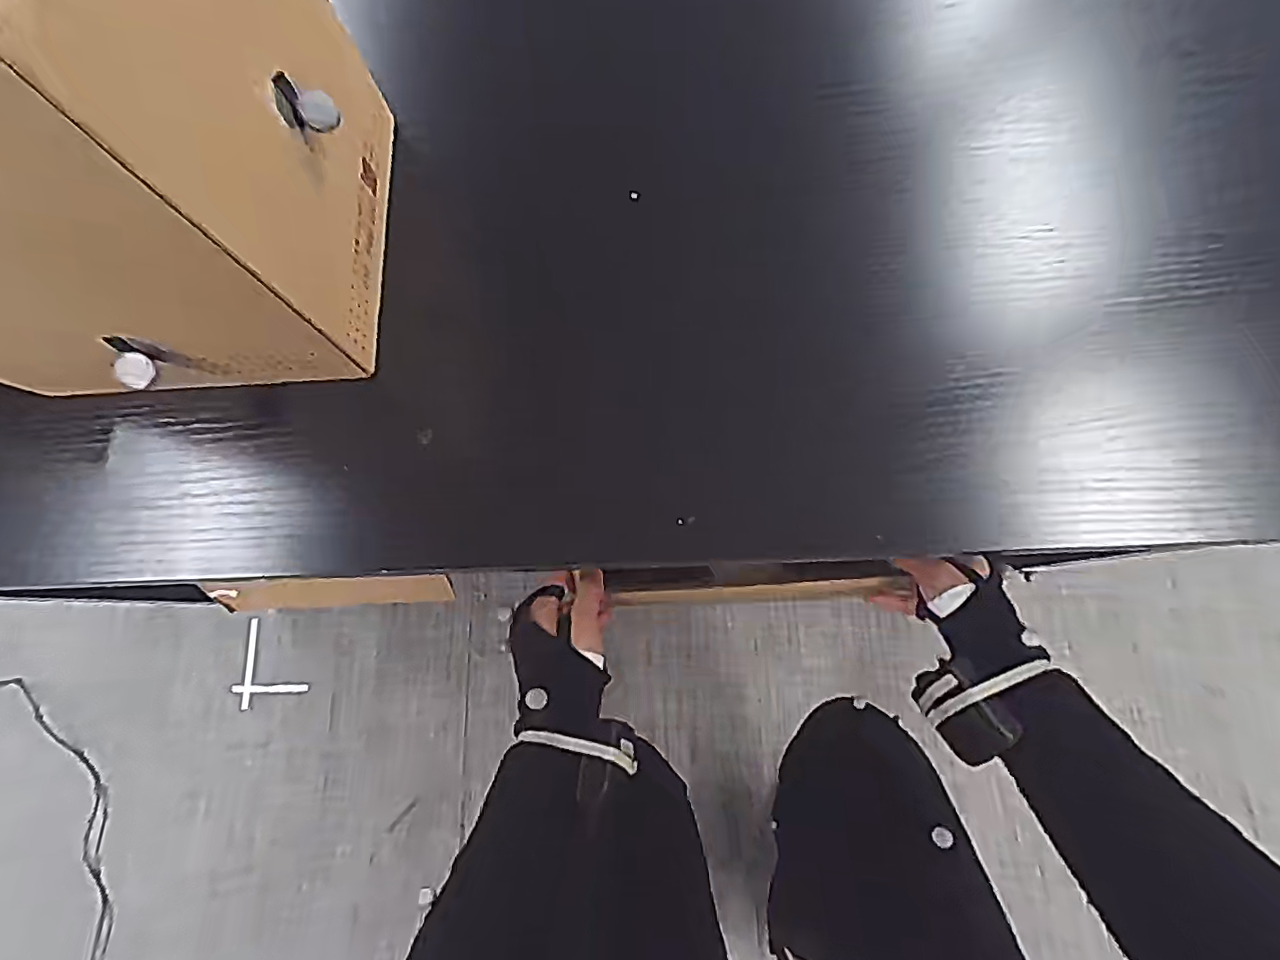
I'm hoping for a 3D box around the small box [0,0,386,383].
[{"bbox_3d":[-0.222,-0.148,0.210,0.179,0.176,0.168,-3,75,0],"label":"small box"}]
